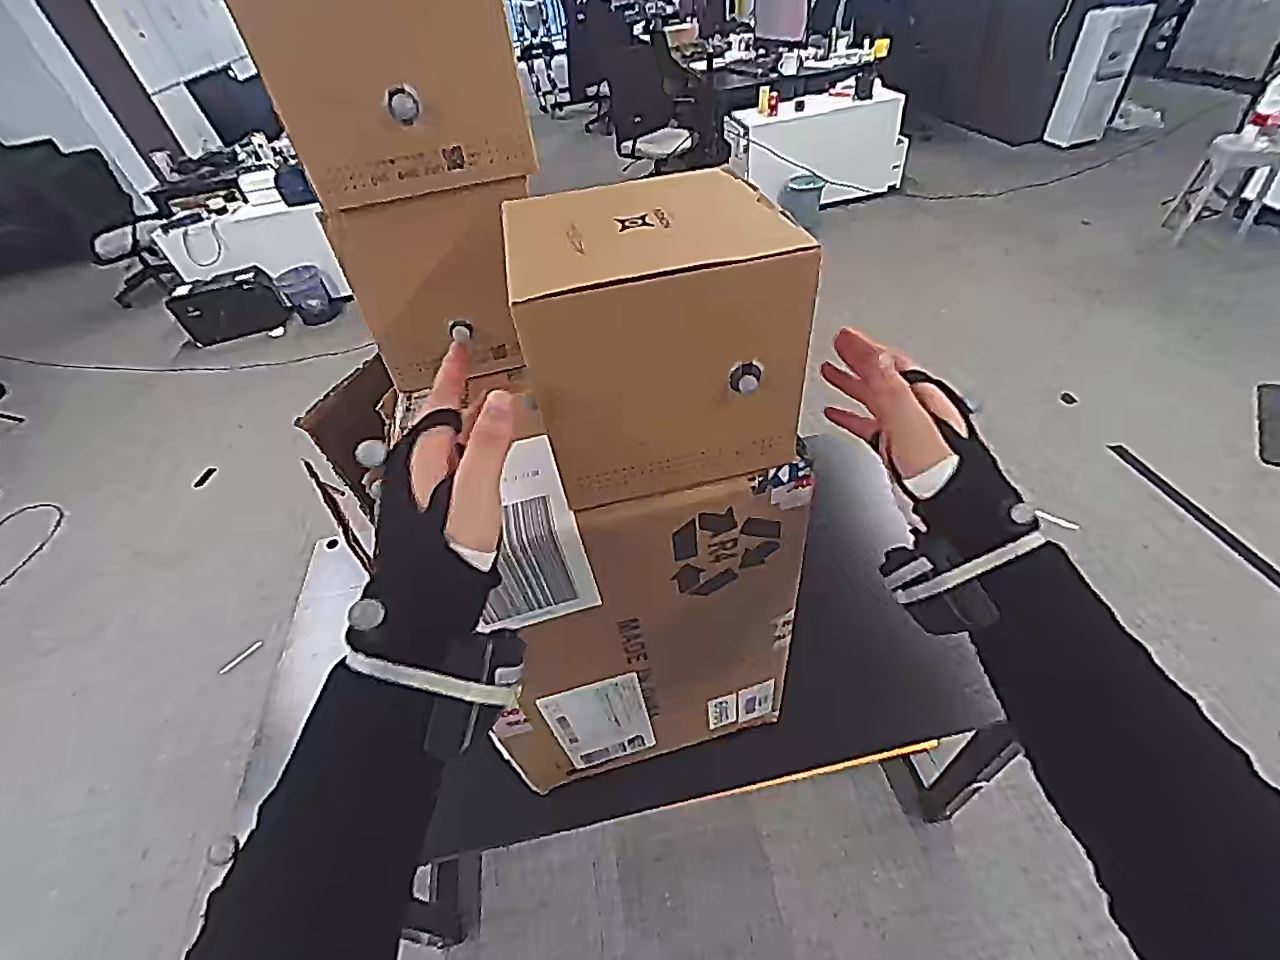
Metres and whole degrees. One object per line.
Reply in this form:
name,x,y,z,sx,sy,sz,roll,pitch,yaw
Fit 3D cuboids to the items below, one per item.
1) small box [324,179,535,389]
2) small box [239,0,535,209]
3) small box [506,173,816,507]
small box,-0.183,-0.217,0.546,0.168,0.176,0.179,-15,44,-7
small box,-0.191,-0.333,0.428,0.168,0.176,0.179,-16,43,-9
small box,0.008,-0.105,0.409,0.179,0.176,0.168,-13,44,-4
